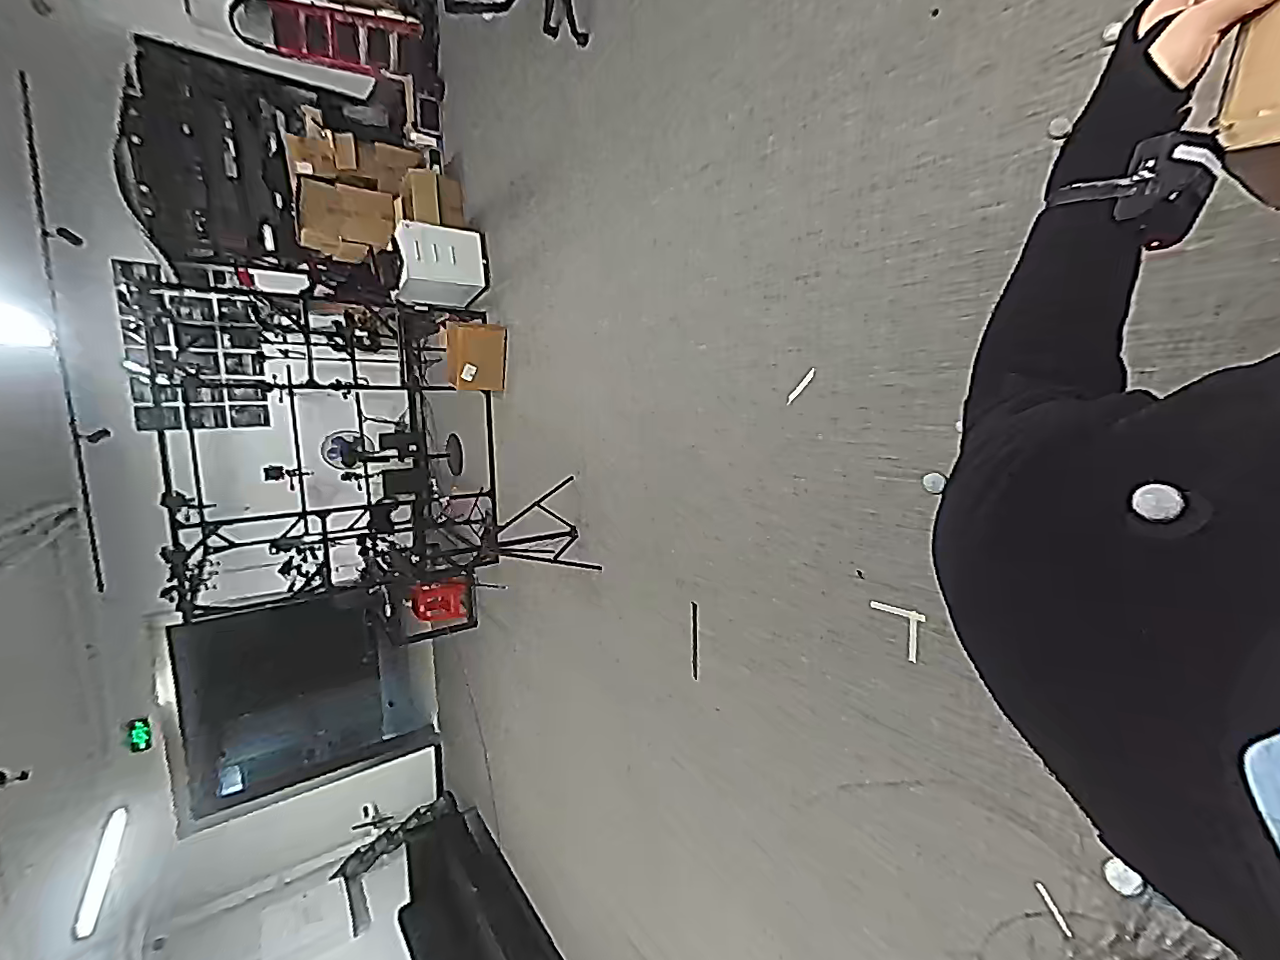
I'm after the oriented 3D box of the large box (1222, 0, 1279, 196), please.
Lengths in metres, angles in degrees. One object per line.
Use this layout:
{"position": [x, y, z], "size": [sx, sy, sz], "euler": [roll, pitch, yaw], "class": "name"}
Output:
{"position": [0.661, -0.368, 0.284], "size": [0.408, 0.320, 0.320], "euler": [19, 113, 53], "class": "large box"}
